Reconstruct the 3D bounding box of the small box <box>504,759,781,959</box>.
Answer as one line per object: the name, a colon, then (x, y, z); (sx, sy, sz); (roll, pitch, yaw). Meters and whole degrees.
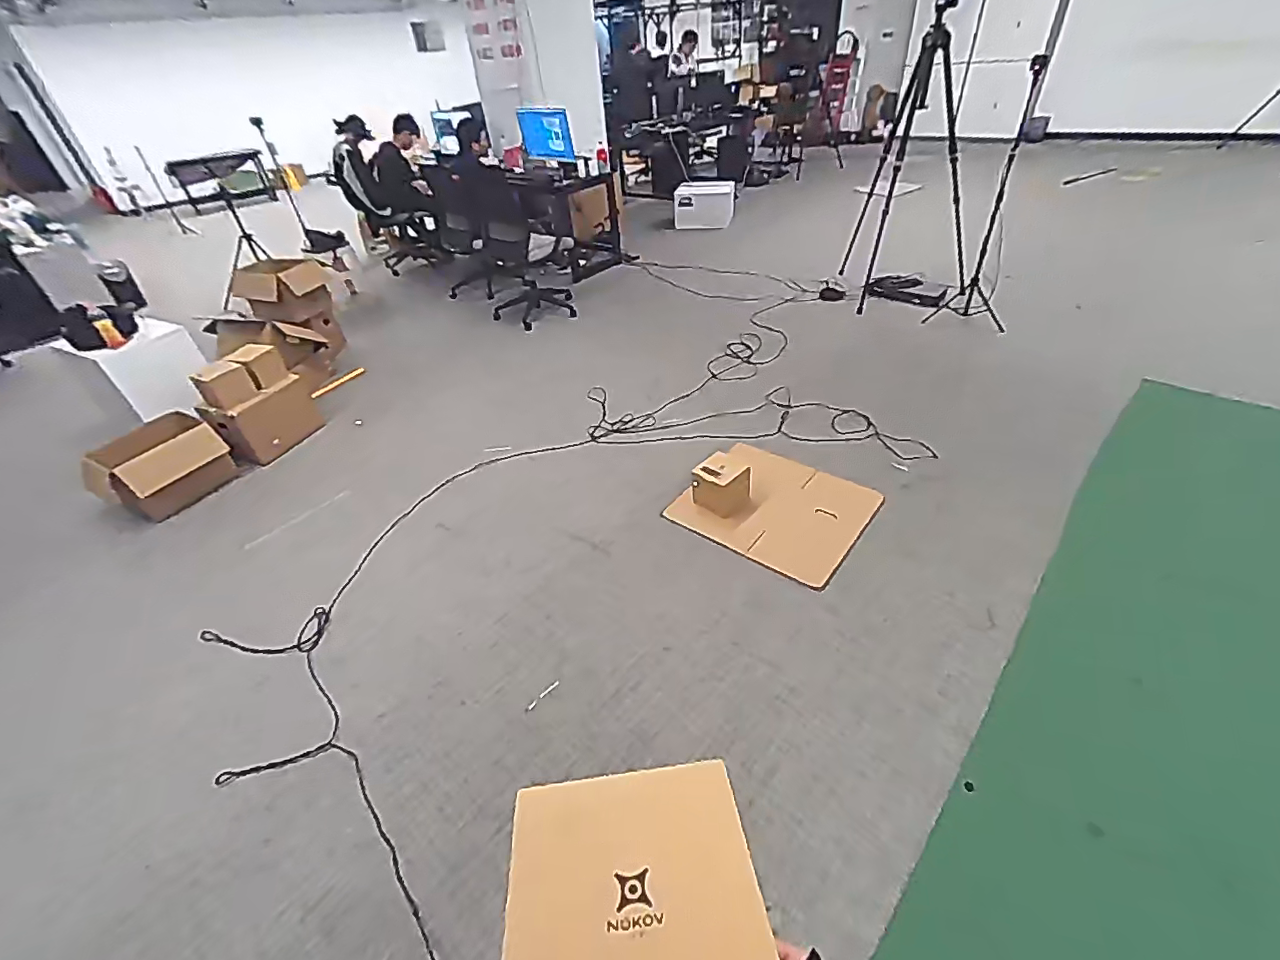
small box: (0.000, 0.340, 0.386); (0.168, 0.176, 0.179); (-6, 27, -5)
